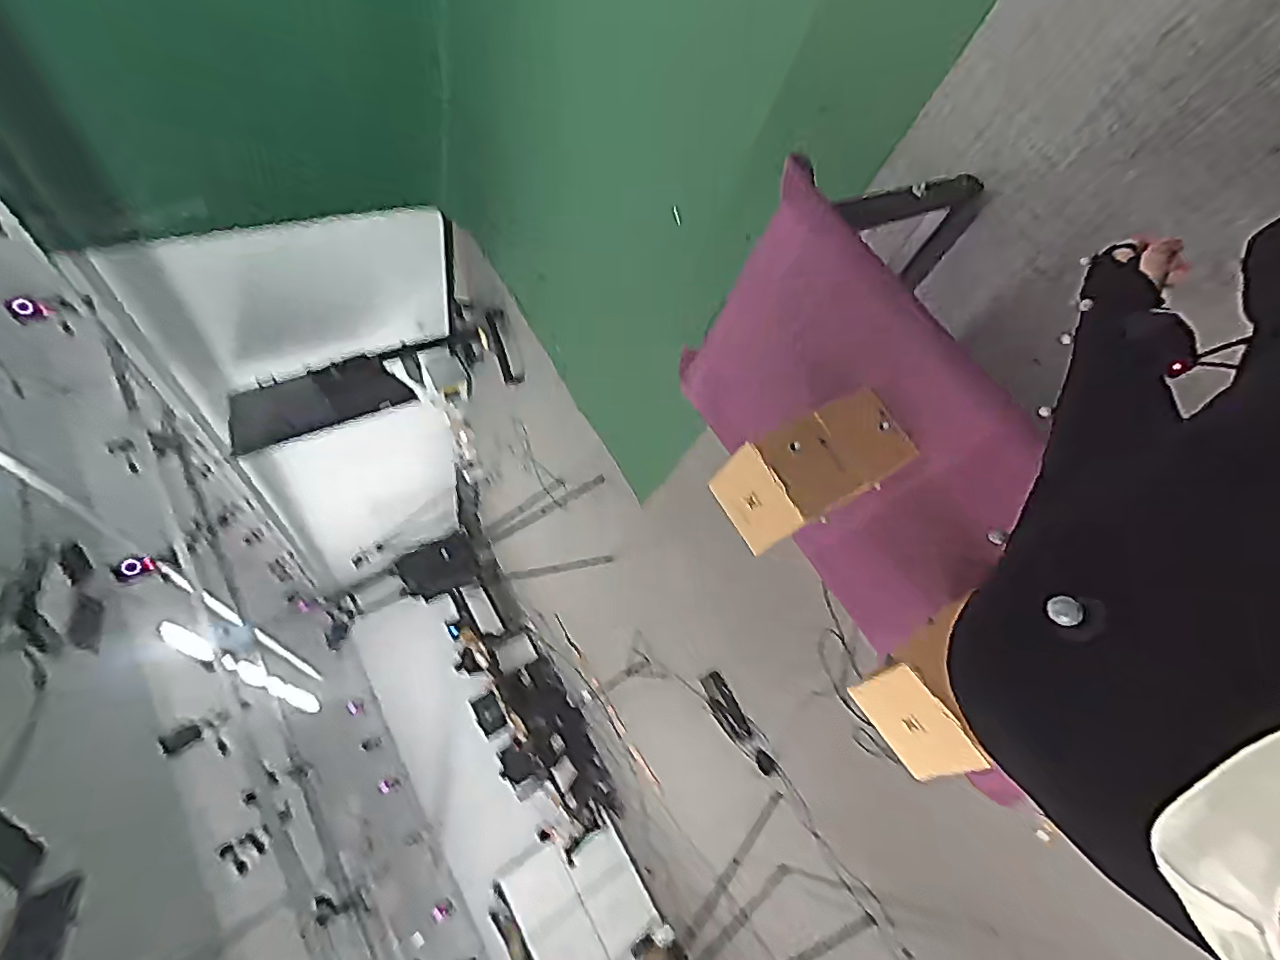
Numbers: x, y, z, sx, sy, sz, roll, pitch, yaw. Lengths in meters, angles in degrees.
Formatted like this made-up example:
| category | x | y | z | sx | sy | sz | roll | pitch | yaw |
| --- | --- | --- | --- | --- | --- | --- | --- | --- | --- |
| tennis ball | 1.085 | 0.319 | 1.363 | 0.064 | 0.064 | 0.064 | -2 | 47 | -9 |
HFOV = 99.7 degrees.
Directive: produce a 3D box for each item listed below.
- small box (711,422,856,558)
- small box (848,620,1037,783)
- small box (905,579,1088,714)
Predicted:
| category | x | y | z | sx | sy | sz | roll | pitch | yaw |
| --- | --- | --- | --- | --- | --- | --- | --- | --- | --- |
| small box | 0.269 | 0.016 | 1.007 | 0.168 | 0.176 | 0.179 | 59 | 151 | 15 |
| small box | 0.489 | 0.360 | 0.882 | 0.168 | 0.176 | 0.179 | 54 | 150 | 23 |
| small box | 0.624 | 0.303 | 0.953 | 0.168 | 0.176 | 0.179 | 55 | 150 | 21 |
